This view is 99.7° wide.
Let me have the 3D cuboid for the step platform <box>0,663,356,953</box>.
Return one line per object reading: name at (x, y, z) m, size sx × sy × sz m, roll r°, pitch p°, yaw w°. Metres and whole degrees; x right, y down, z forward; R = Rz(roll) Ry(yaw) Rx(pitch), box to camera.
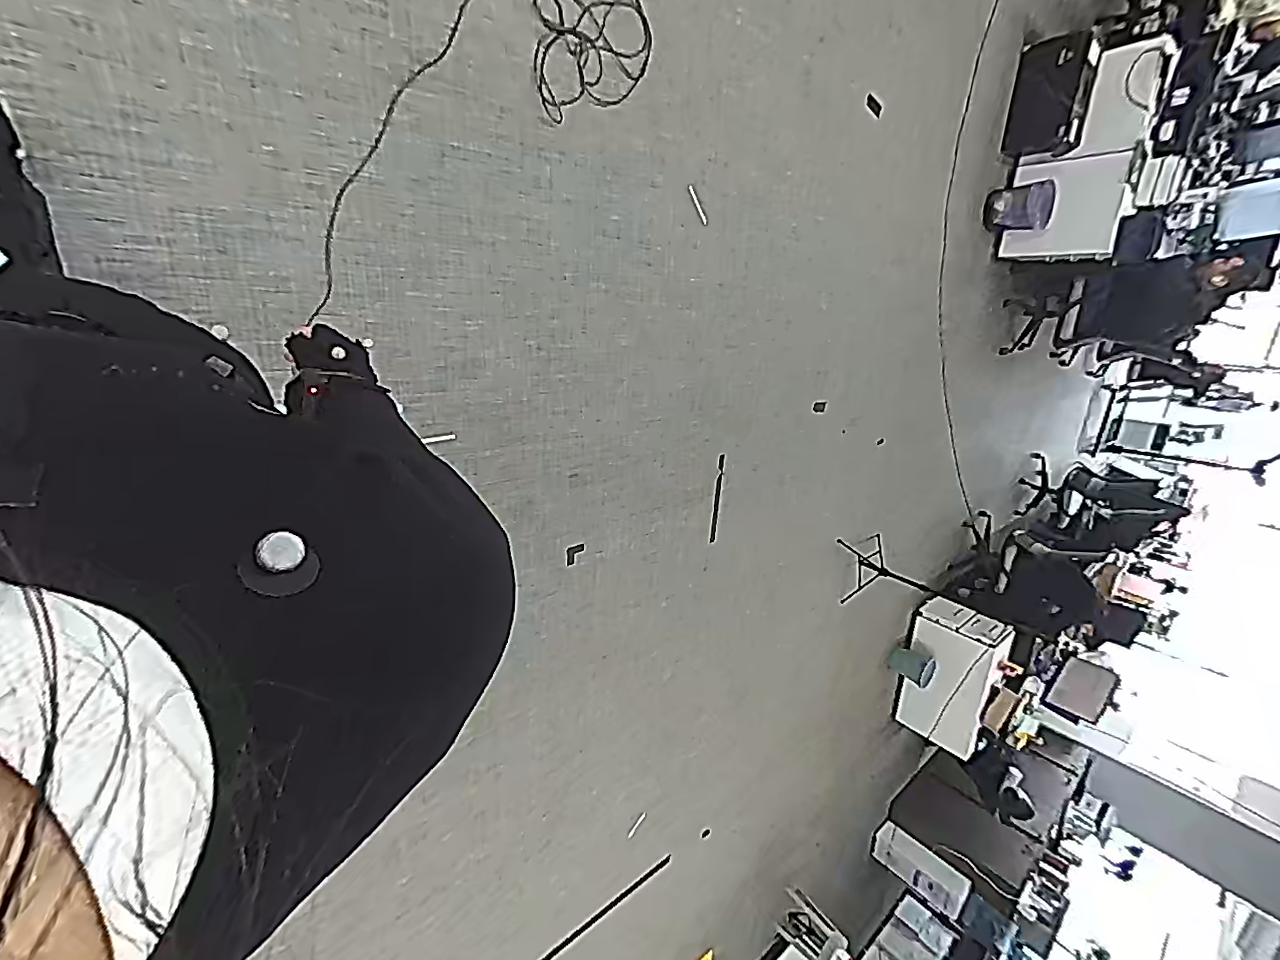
step platform at (-1.030, 0.693, 1.223) m, size 0.684 × 0.204 × 0.286 m, roll -13°, pitch 113°, yaw -37°
